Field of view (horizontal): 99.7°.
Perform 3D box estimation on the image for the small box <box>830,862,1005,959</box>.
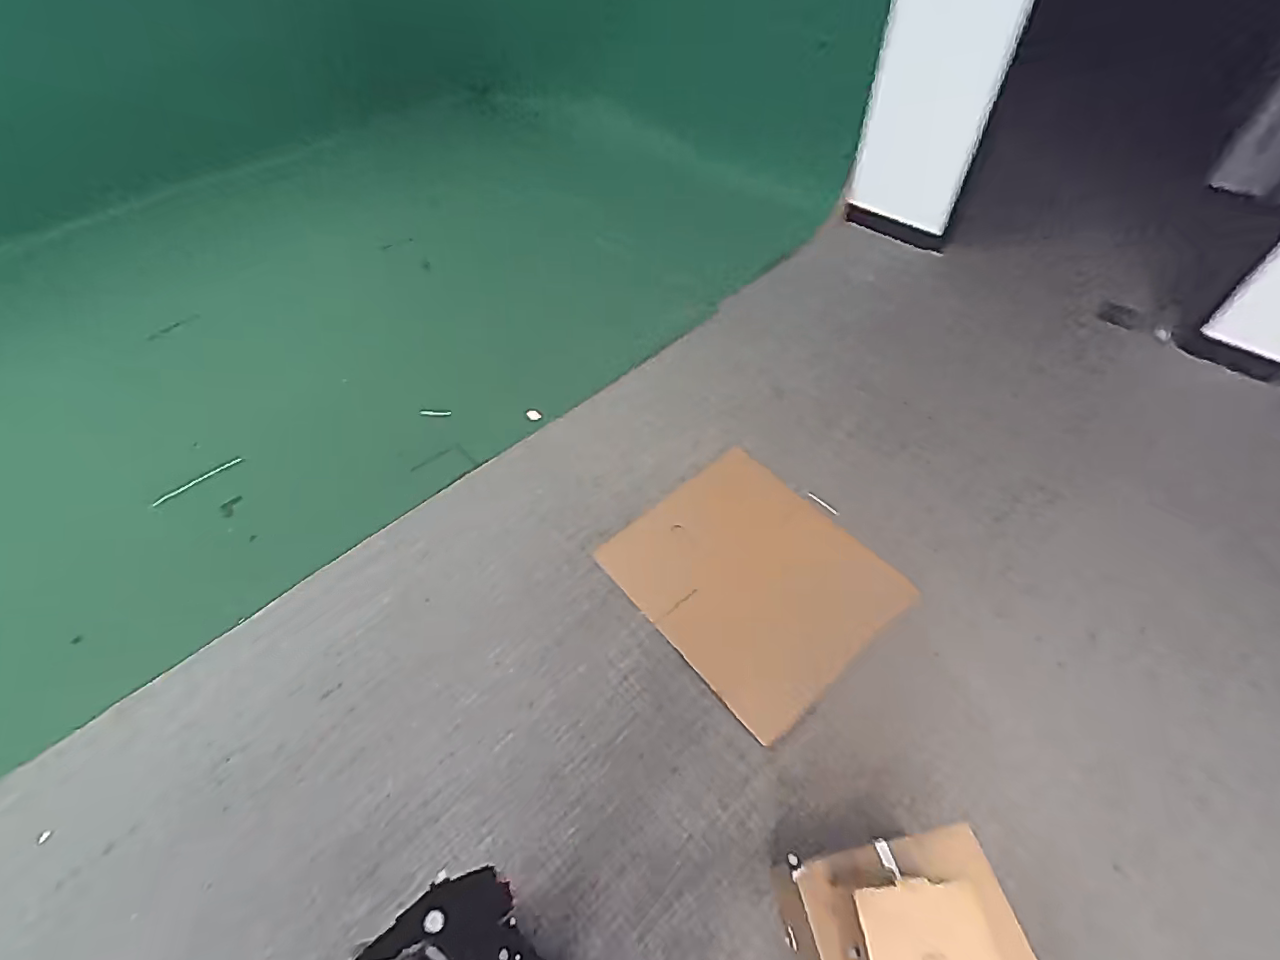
[{"bbox_3d":[0.384,0.653,0.755,0.168,0.176,0.179,-7,54,-1],"label":"small box"}]
